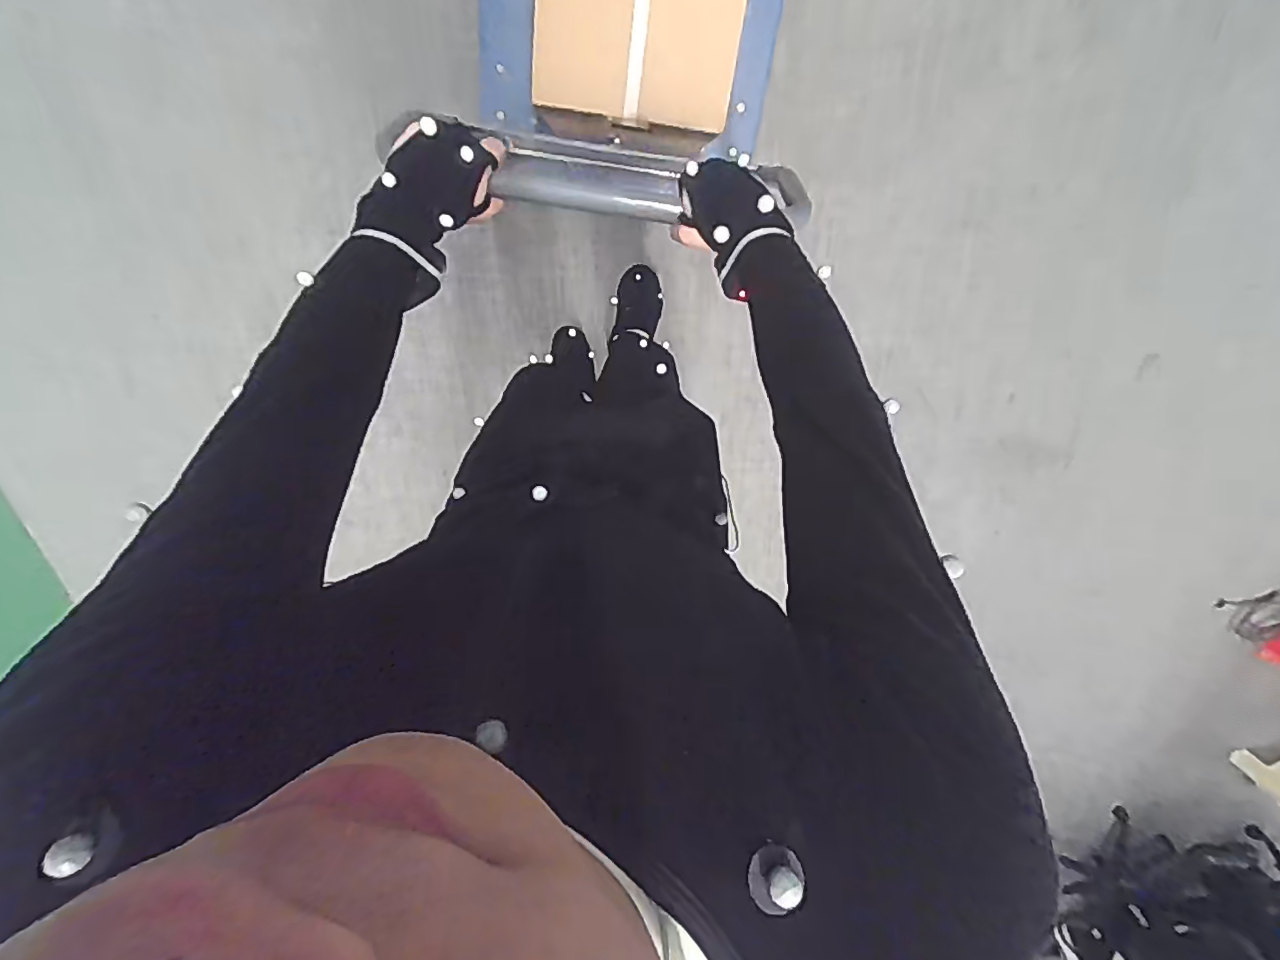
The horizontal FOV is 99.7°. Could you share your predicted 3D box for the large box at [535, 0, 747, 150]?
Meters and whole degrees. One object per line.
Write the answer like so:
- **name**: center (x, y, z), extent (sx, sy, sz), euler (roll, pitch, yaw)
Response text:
- **large box**: center (0.008, -0.821, 0.914), extent (0.320, 0.320, 0.408), euler (6, 116, -5)
